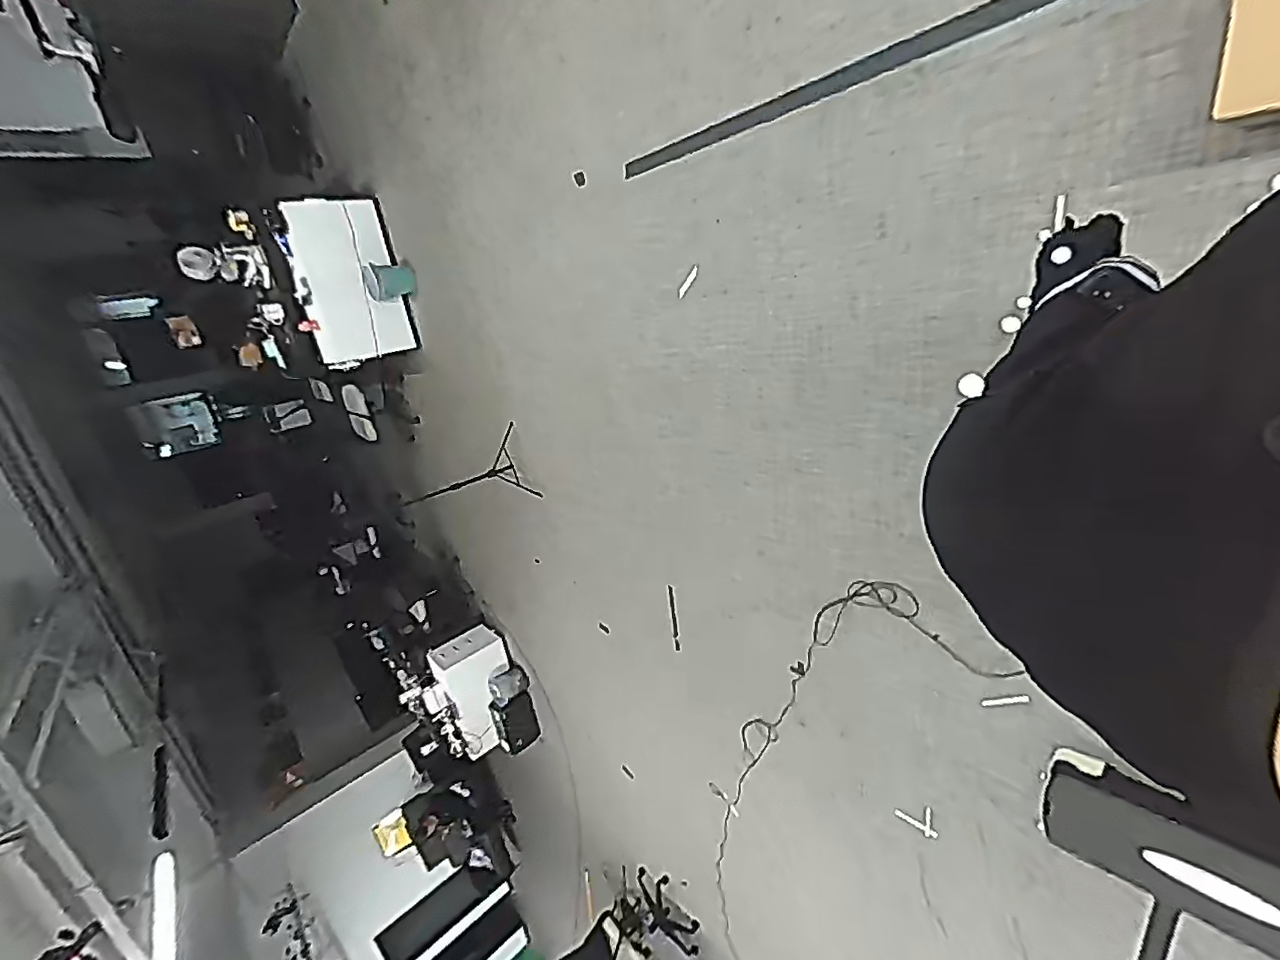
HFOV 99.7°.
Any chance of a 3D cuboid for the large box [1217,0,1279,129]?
[{"bbox_3d":[1.018,-0.666,0.650,0.408,0.320,0.320,14,121,46],"label":"large box"}]
